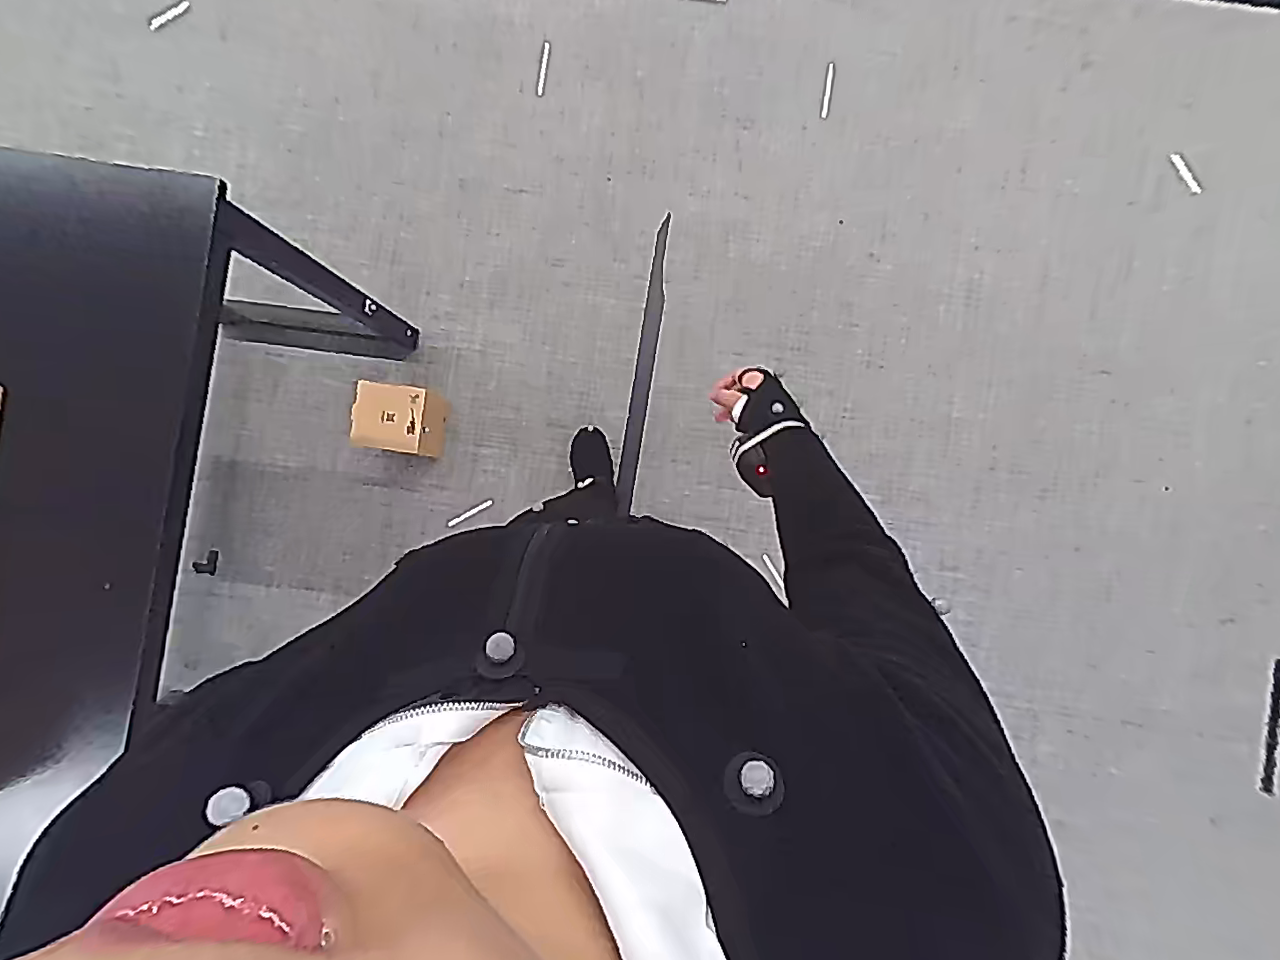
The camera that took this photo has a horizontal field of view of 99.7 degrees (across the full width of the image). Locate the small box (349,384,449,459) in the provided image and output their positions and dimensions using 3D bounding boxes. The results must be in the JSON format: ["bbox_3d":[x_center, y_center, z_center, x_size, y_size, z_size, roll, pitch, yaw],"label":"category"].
[{"bbox_3d":[-0.630,-0.148,1.429,0.179,0.176,0.168,8,89,2],"label":"small box"}]
